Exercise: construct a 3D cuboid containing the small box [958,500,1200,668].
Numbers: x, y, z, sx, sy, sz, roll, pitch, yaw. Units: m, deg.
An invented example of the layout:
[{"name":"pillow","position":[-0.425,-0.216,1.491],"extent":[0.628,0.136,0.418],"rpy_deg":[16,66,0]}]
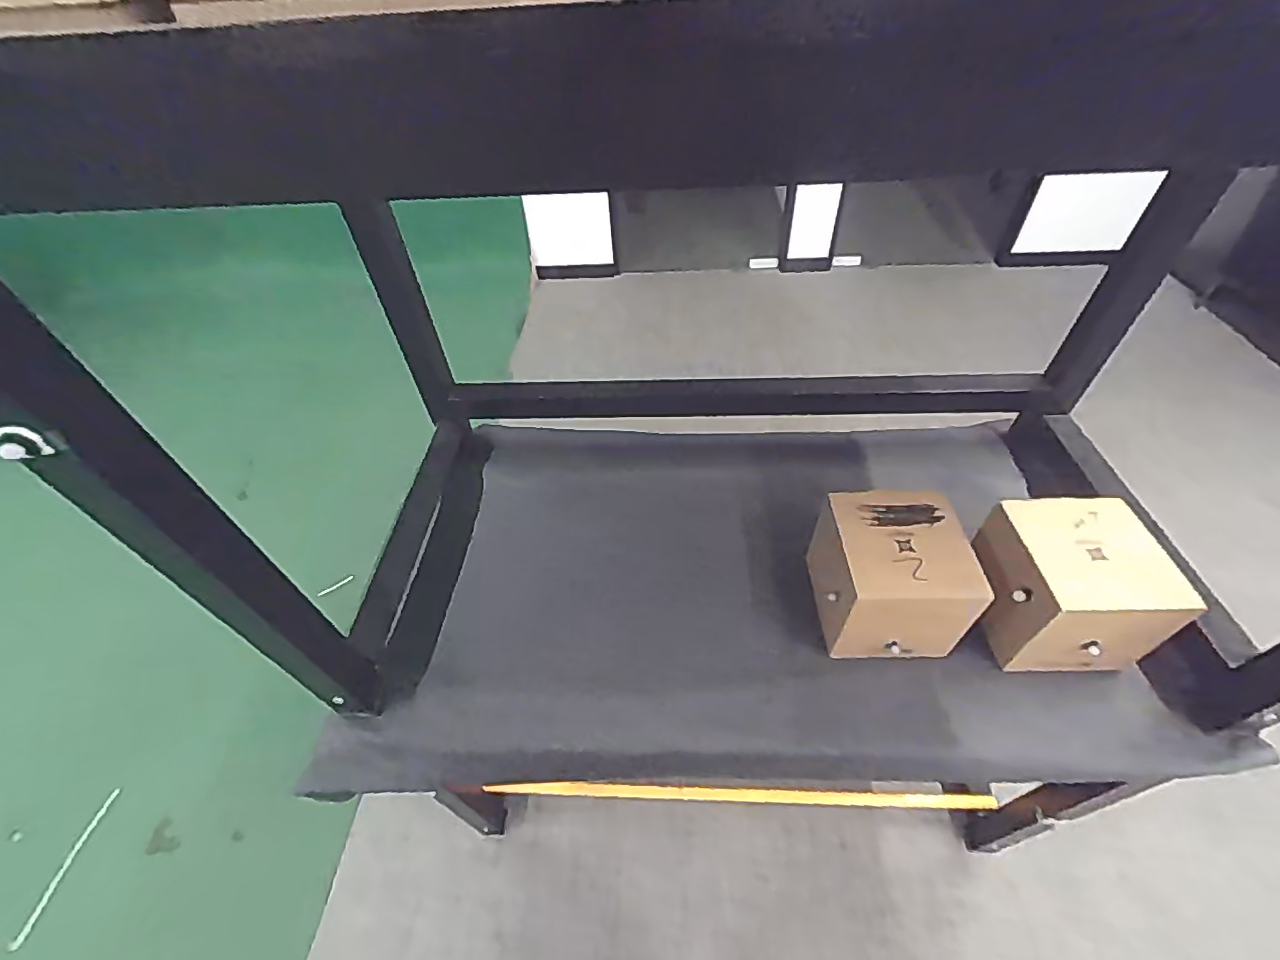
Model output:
[{"name":"small box","position":[0.581,0.148,0.749],"extent":[0.168,0.176,0.179],"rpy_deg":[-1,46,2]}]
